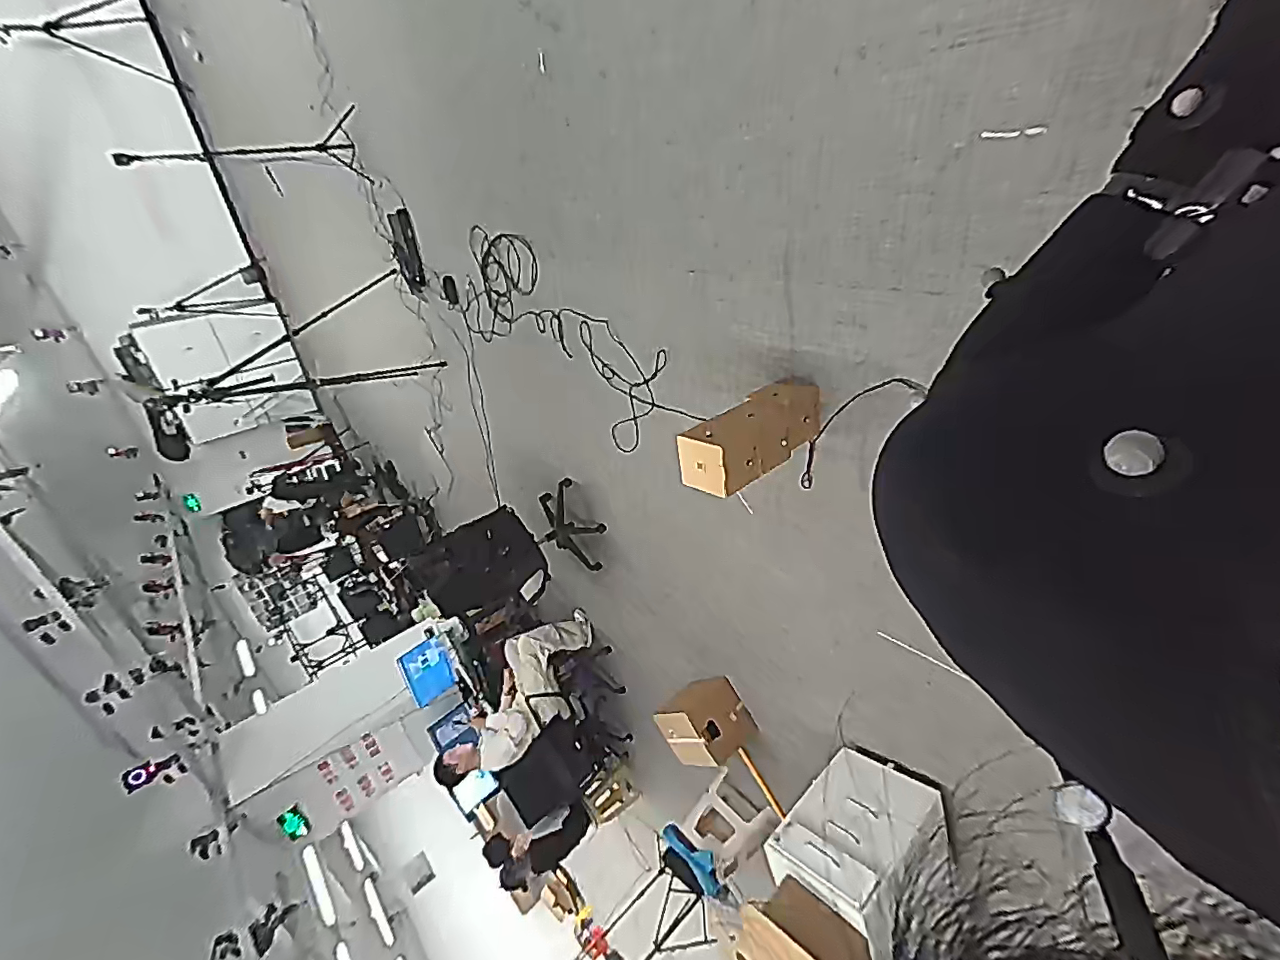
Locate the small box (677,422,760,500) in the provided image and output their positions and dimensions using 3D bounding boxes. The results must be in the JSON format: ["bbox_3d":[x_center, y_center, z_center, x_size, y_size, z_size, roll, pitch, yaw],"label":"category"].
[{"bbox_3d":[0.234,-0.065,1.610,0.179,0.176,0.168,20,128,45],"label":"small box"}]

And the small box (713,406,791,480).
[{"bbox_3d":[0.353,-0.124,1.704,0.179,0.176,0.168,21,129,44],"label":"small box"}]

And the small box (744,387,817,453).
[{"bbox_3d":[0.469,-0.204,1.788,0.179,0.176,0.168,18,126,48],"label":"small box"}]
